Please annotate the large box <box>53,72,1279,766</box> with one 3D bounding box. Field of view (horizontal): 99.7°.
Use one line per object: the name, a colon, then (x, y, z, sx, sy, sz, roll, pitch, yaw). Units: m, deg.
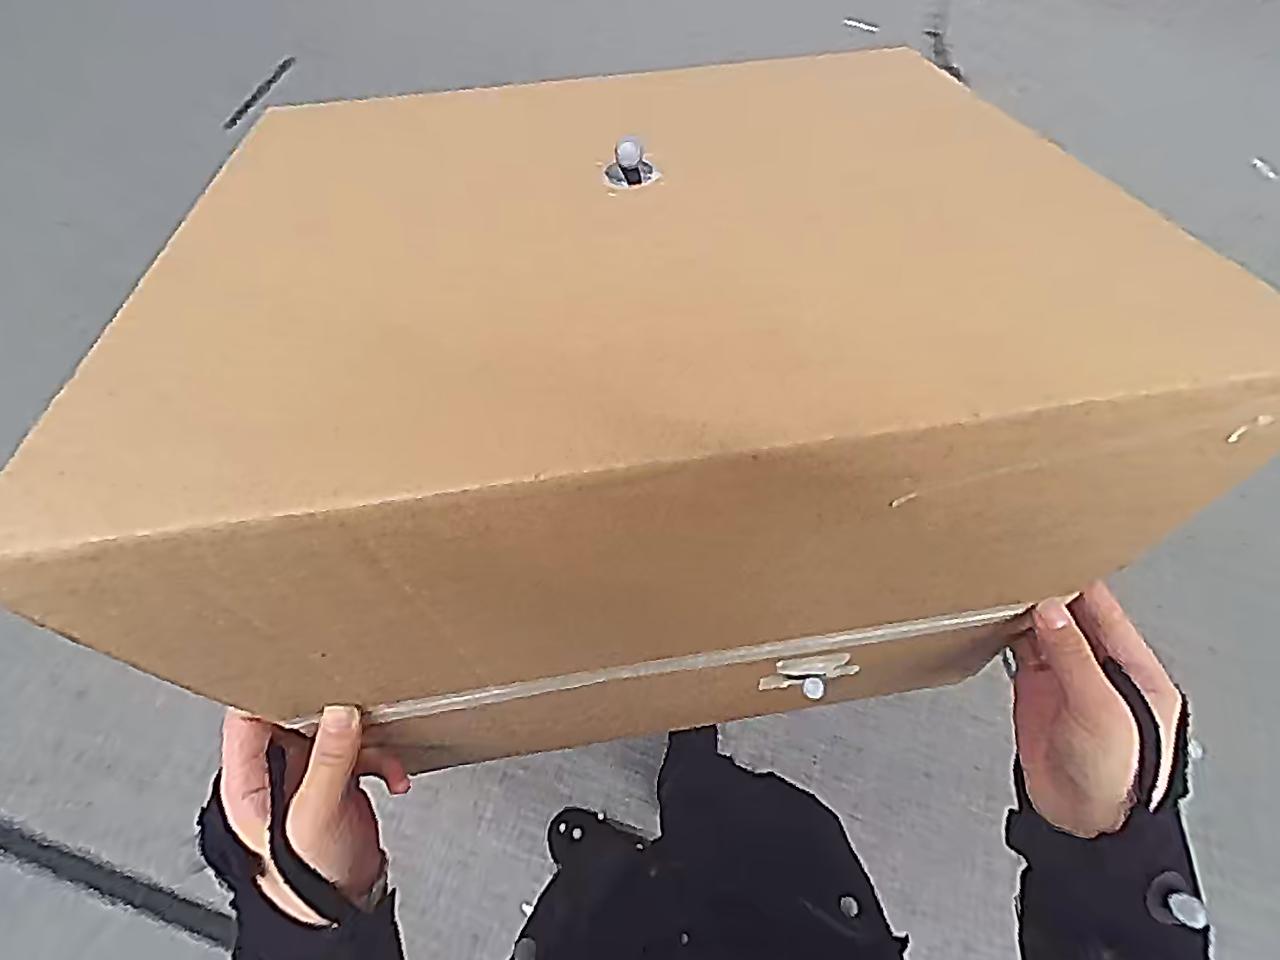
large box: (0.008, -0.031, 0.370, 0.408, 0.320, 0.320, -8, 54, -3)
